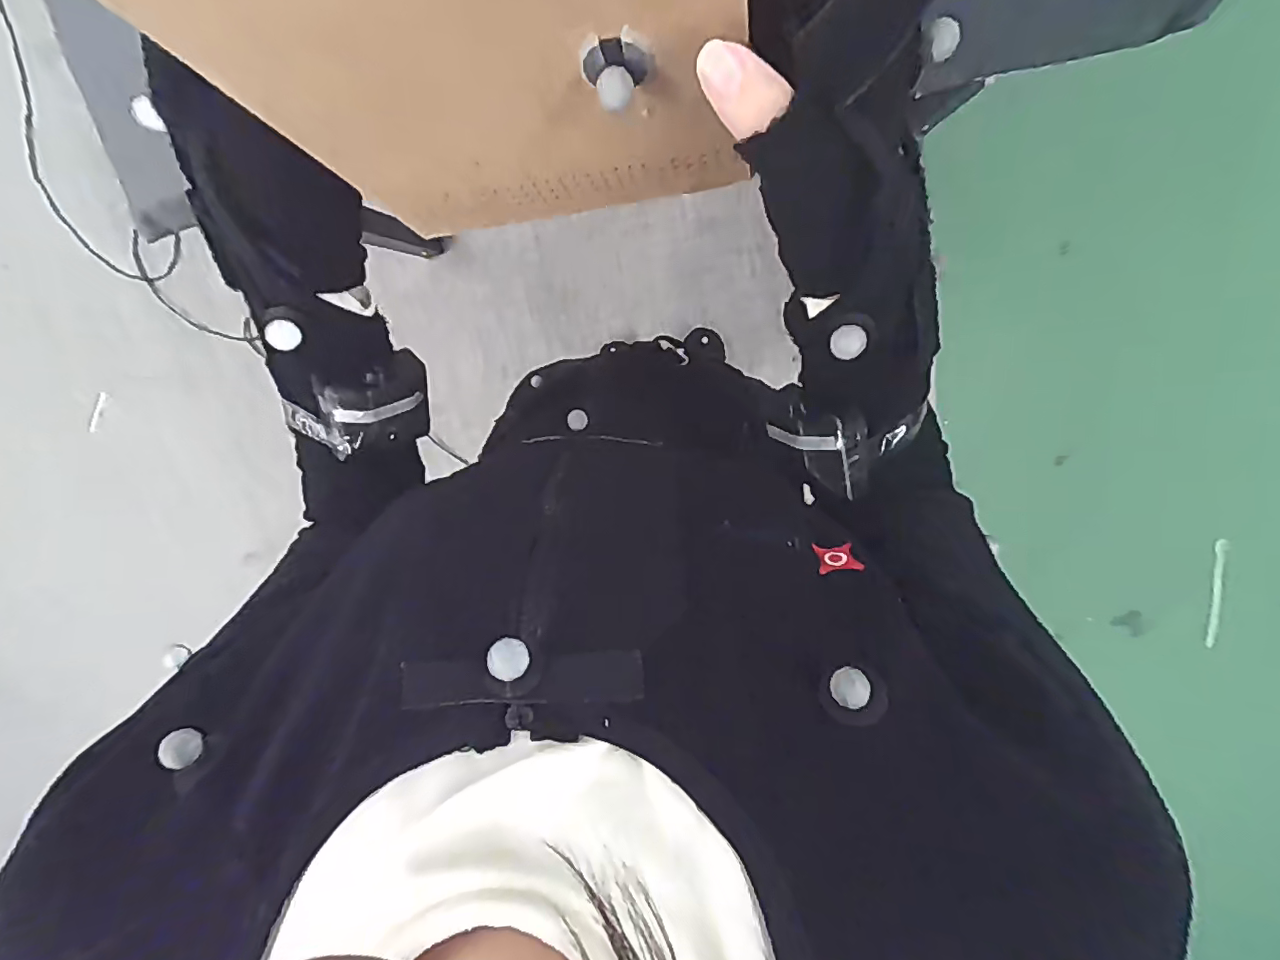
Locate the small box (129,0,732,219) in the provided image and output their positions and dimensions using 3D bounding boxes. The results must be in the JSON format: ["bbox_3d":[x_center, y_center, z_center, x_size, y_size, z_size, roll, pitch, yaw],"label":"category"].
[{"bbox_3d":[-0.057,-0.223,0.198,0.179,0.176,0.168,-3,88,12],"label":"small box"}]
